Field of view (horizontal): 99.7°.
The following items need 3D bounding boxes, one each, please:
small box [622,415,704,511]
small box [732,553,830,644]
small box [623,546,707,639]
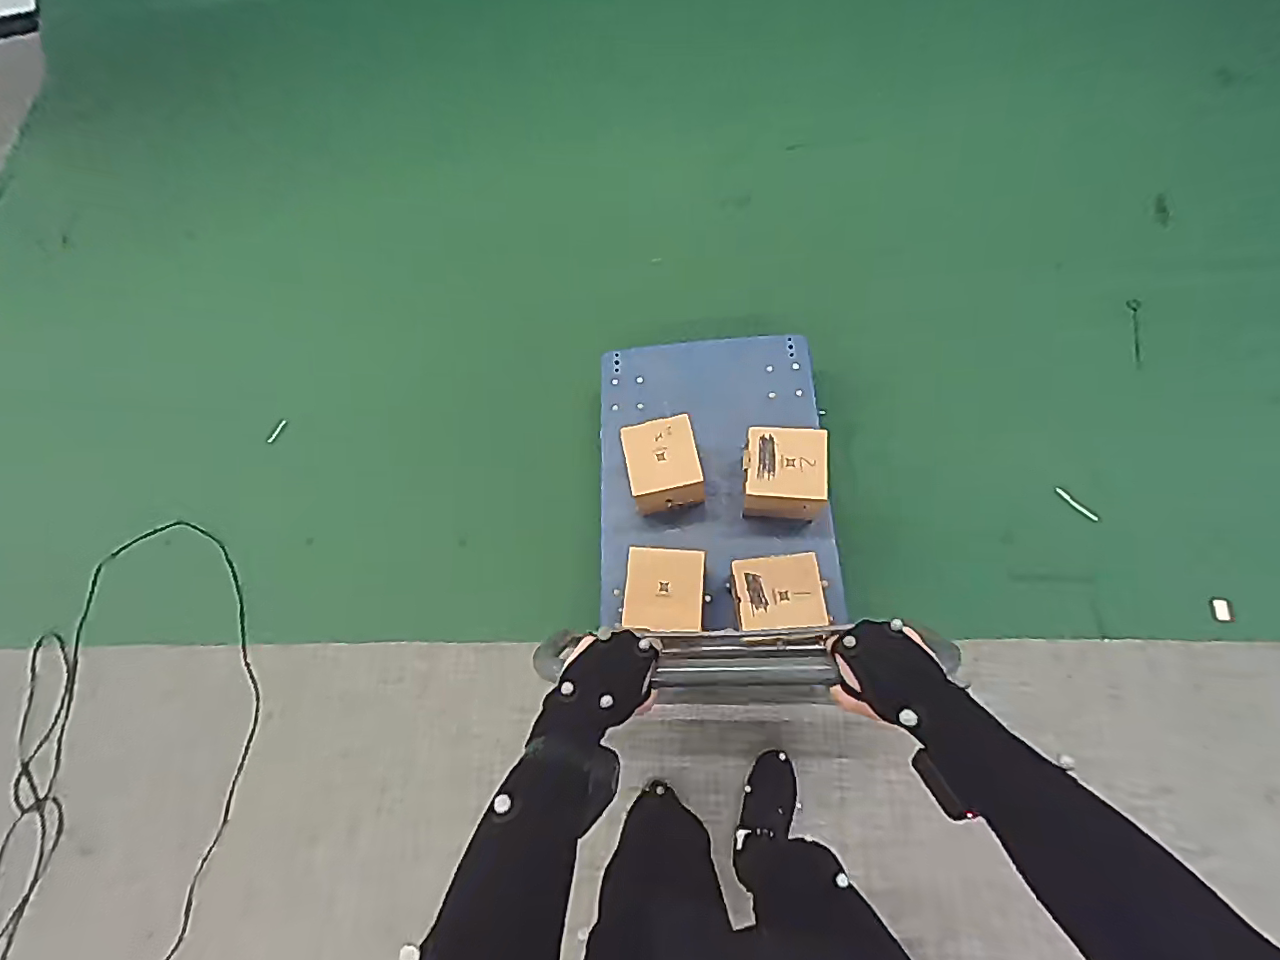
[{"bbox_3d":[0.060,-0.032,1.312,0.168,0.176,0.179,-12,69,3],"label":"small box"},{"bbox_3d":[0.294,0.262,1.175,0.179,0.176,0.168,-6,70,5],"label":"small box"},{"bbox_3d":[0.061,0.255,1.211,0.168,0.176,0.179,3,72,8],"label":"small box"}]
